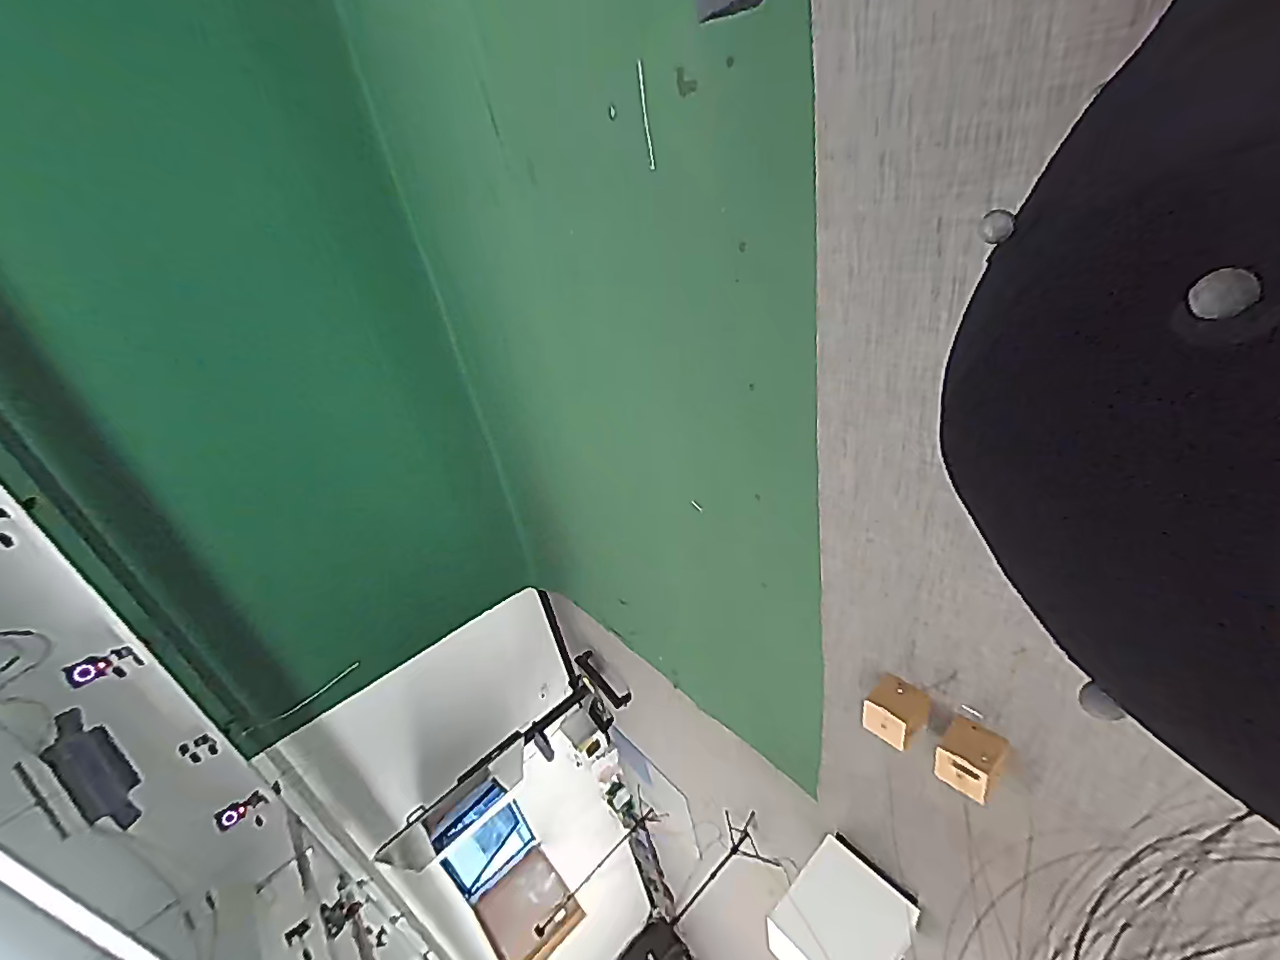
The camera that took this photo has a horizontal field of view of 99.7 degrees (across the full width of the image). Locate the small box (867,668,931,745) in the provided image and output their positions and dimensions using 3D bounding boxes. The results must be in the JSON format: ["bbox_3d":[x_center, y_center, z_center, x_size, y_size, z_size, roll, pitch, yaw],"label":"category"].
[{"bbox_3d":[1.015,0.881,2.115,0.168,0.176,0.179,25,135,45],"label":"small box"}]
